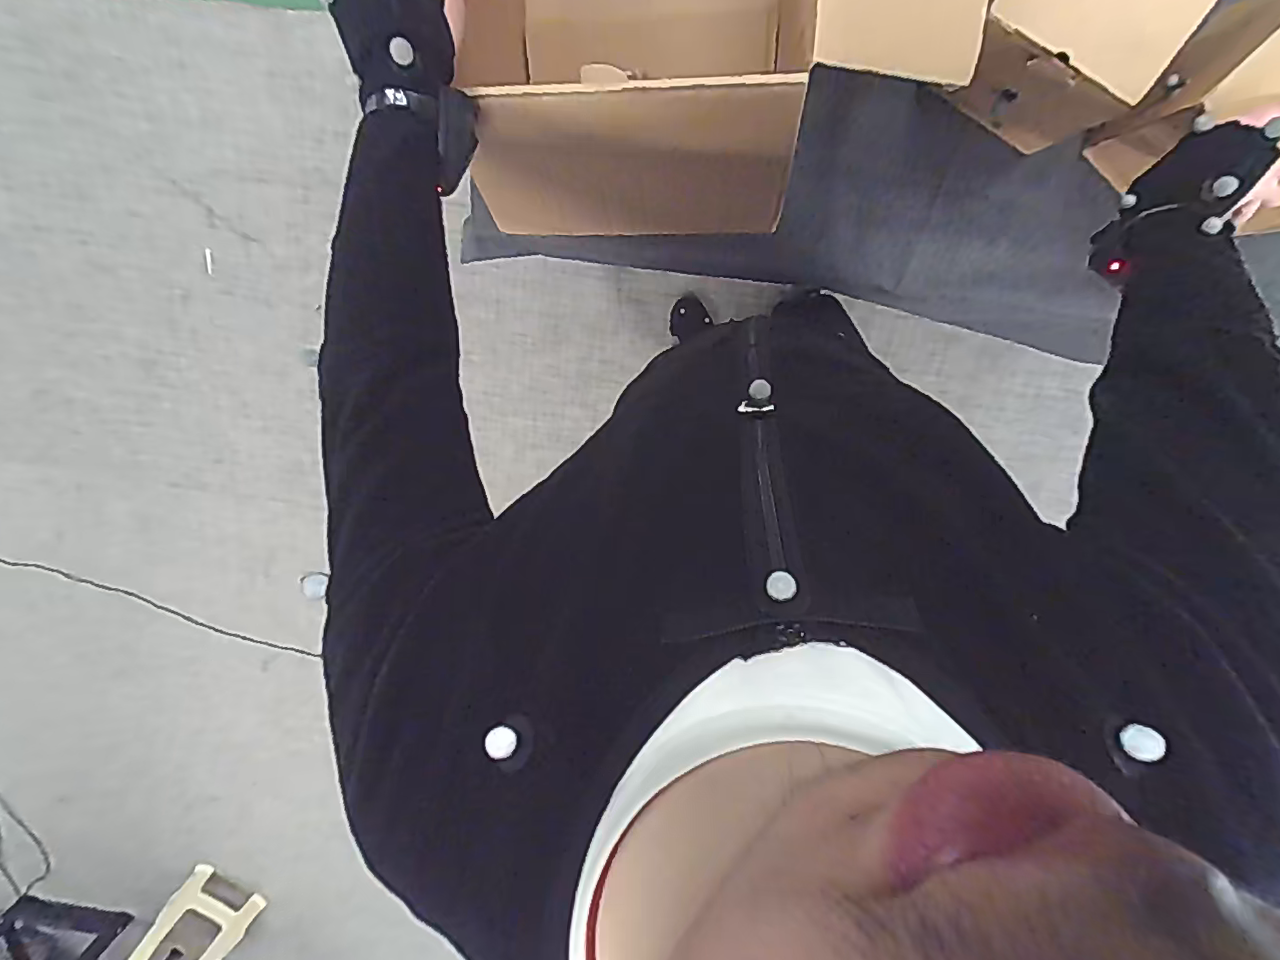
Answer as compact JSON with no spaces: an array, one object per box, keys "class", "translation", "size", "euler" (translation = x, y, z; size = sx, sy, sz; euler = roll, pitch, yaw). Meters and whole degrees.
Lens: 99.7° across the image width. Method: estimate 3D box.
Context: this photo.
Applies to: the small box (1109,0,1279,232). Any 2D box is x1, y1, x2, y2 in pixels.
[{"class":"small box","translation":[0.639,-0.380,0.549],"size":[0.168,0.176,0.179],"euler":[39,109,-8]}]
